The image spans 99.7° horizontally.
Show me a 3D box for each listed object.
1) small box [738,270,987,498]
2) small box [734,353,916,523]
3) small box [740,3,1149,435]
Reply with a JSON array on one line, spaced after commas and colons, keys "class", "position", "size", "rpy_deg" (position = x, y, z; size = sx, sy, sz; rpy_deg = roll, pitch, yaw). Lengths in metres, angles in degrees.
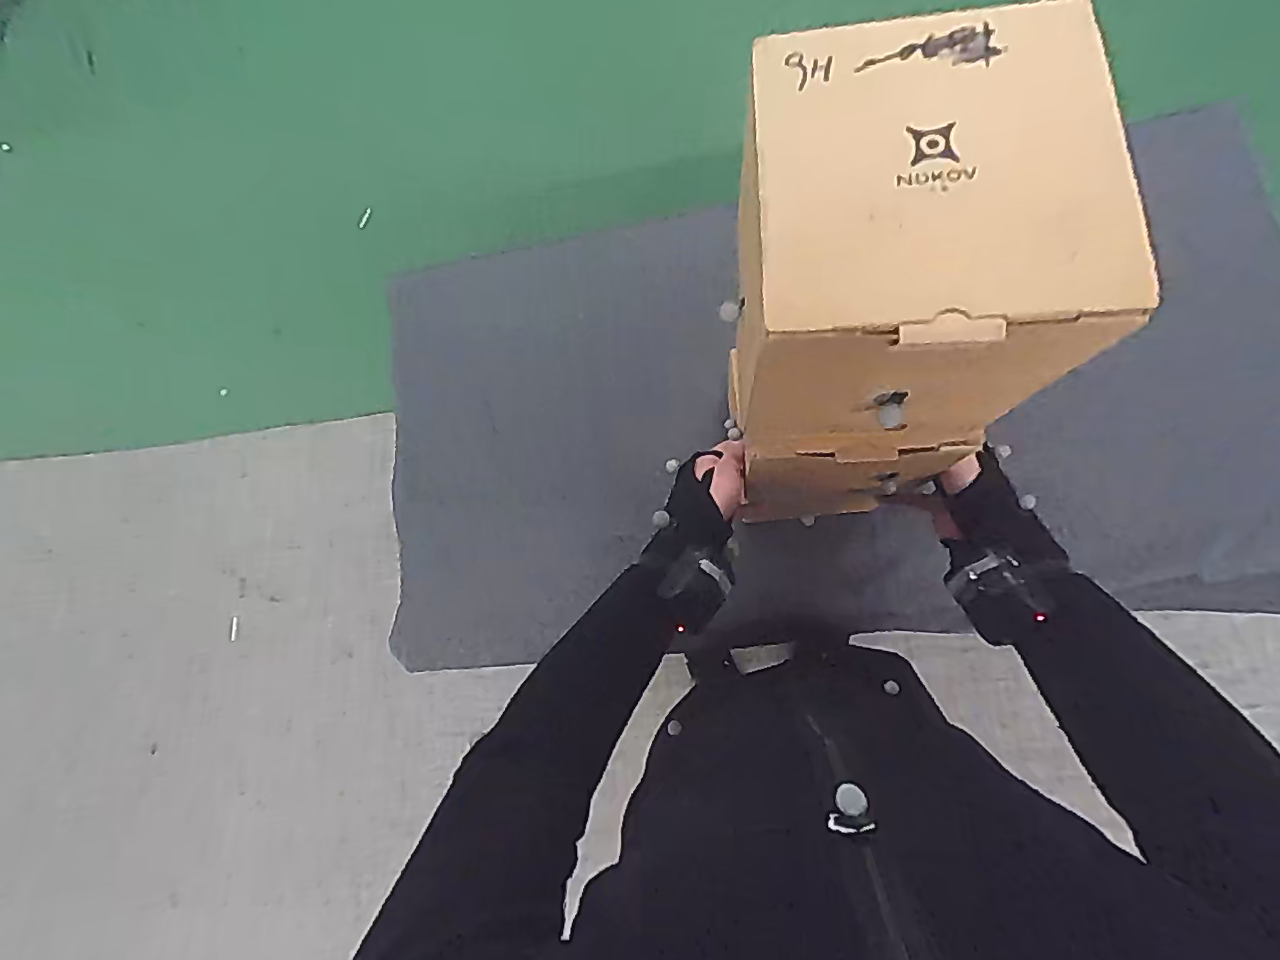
[{"class": "small box", "position": [0.177, -0.081, 0.489], "size": [0.168, 0.176, 0.179], "rpy_deg": [-3, 76, 8]}, {"class": "small box", "position": [0.203, -0.051, 0.646], "size": [0.168, 0.176, 0.179], "rpy_deg": [-6, 78, 8]}, {"class": "small box", "position": [0.149, -0.128, 0.334], "size": [0.168, 0.176, 0.179], "rpy_deg": [-1, 79, 8]}]
